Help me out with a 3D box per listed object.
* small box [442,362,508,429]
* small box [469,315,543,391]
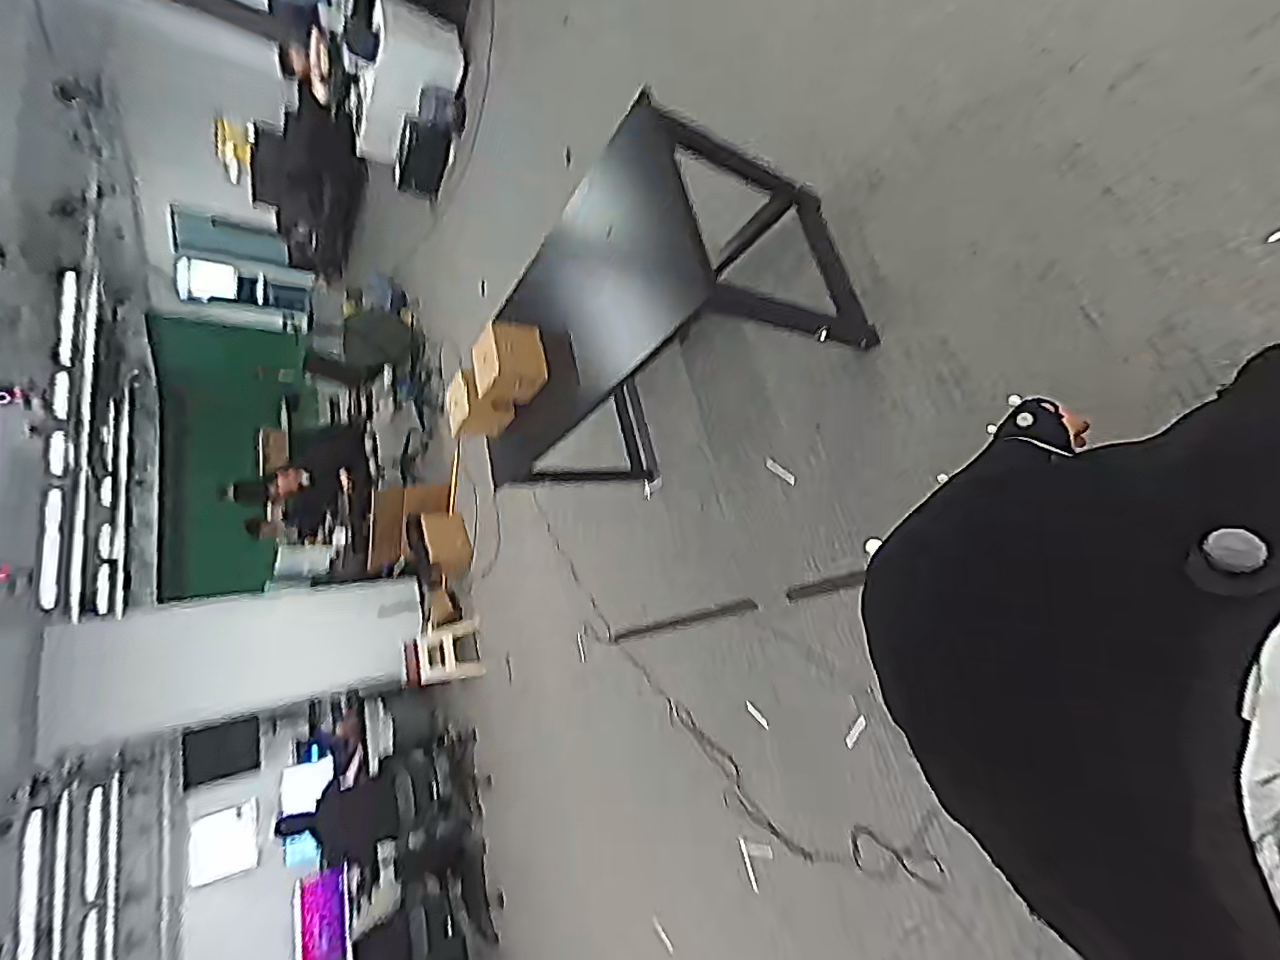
[{"bbox_3d":[-0.572,-0.290,1.892,0.179,0.176,0.168,-33,65,46],"label":"small box"},{"bbox_3d":[-0.420,-0.391,1.703,0.168,0.176,0.179,-32,66,46],"label":"small box"}]
